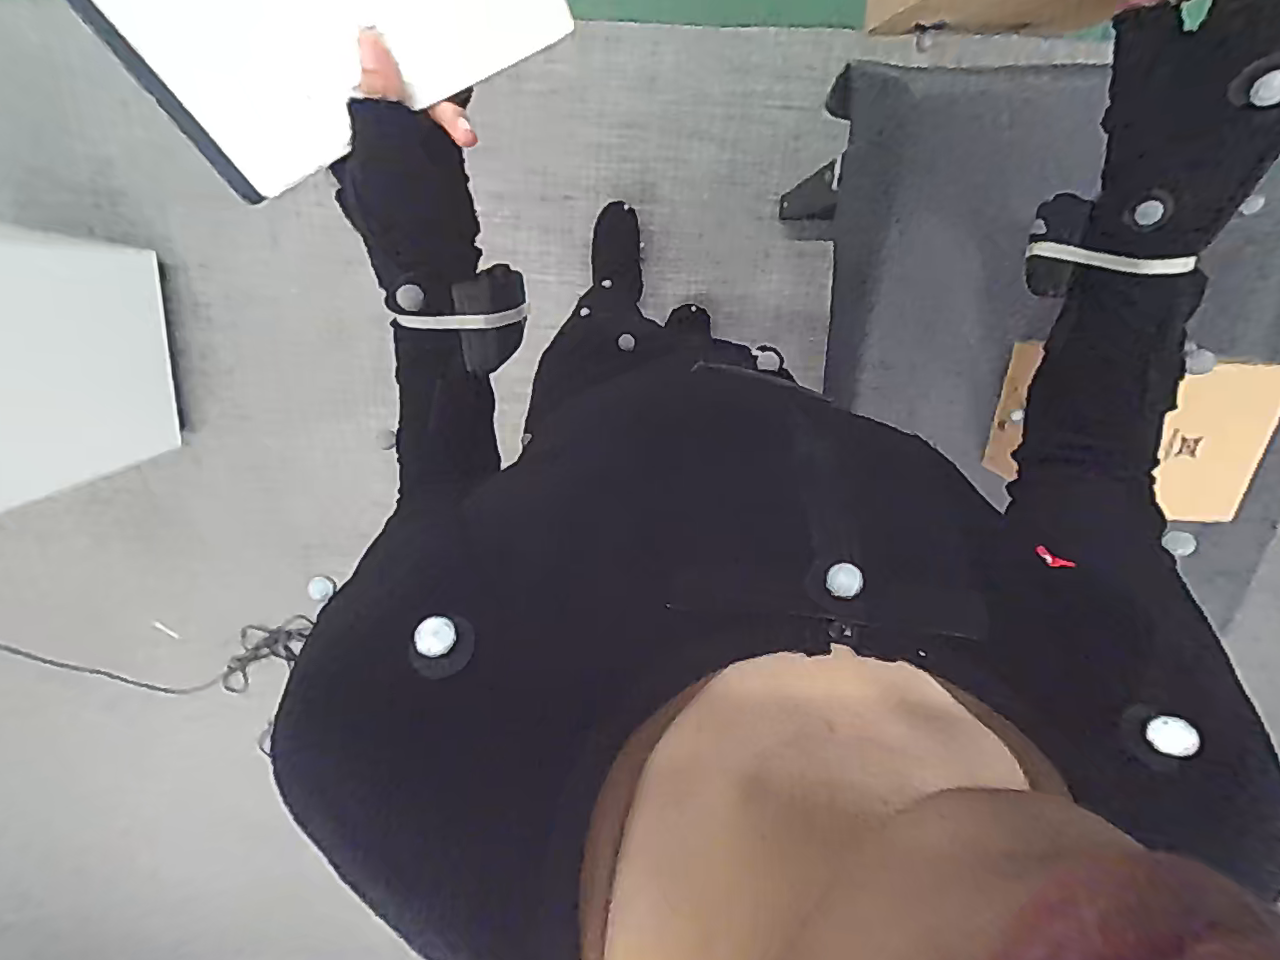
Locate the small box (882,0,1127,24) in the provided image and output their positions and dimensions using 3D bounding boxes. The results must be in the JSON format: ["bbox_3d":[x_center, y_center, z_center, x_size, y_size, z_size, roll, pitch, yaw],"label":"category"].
[{"bbox_3d":[0.239,-0.364,0.277,0.168,0.176,0.179,-5,116,-4],"label":"small box"}]

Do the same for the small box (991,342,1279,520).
[{"bbox_3d":[0.555,-0.064,0.620,0.179,0.176,0.168,3,110,1],"label":"small box"}]
